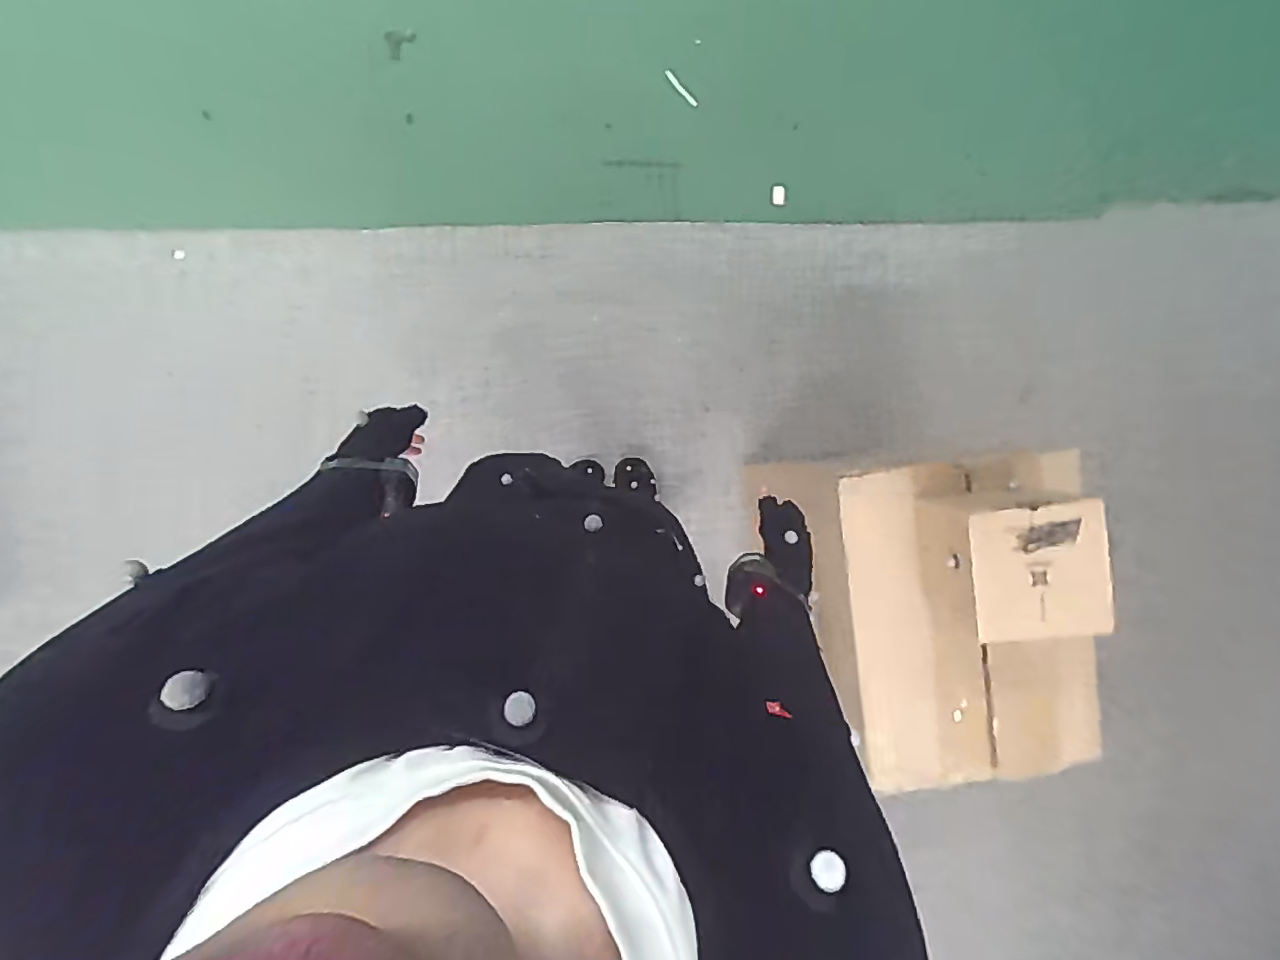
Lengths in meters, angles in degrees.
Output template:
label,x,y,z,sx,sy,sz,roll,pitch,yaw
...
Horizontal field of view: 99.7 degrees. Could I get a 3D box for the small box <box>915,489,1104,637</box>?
label,x,y,z,sx,sy,sz,roll,pitch,yaw
small box,0.516,0.108,0.779,0.168,0.176,0.179,-6,94,6
